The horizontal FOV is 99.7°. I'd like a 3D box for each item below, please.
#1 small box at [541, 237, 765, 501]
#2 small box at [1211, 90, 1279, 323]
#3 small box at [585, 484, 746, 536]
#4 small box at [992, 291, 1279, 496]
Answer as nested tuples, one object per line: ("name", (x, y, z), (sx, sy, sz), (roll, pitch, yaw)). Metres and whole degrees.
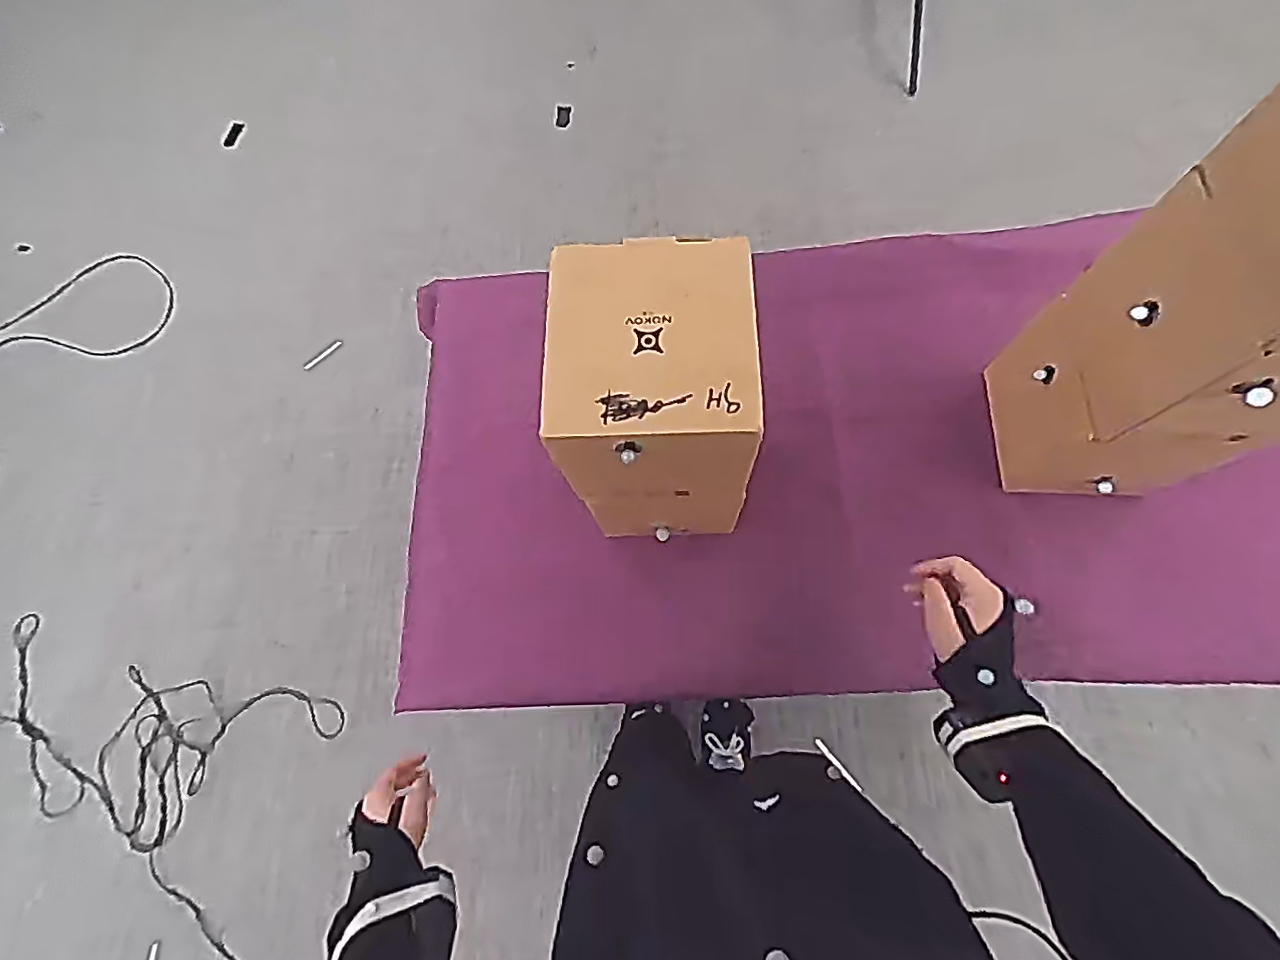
("small box", (0.016, -0.088, 0.491), (0.168, 0.176, 0.179), (-1, 71, 5))
("small box", (0.502, -0.189, 0.308), (0.168, 0.176, 0.179), (4, 71, 6))
("small box", (0.031, -0.037, 0.646), (0.168, 0.176, 0.179), (-2, 72, 5))
("small box", (0.535, -0.092, 0.618), (0.168, 0.176, 0.179), (2, 72, 7))
